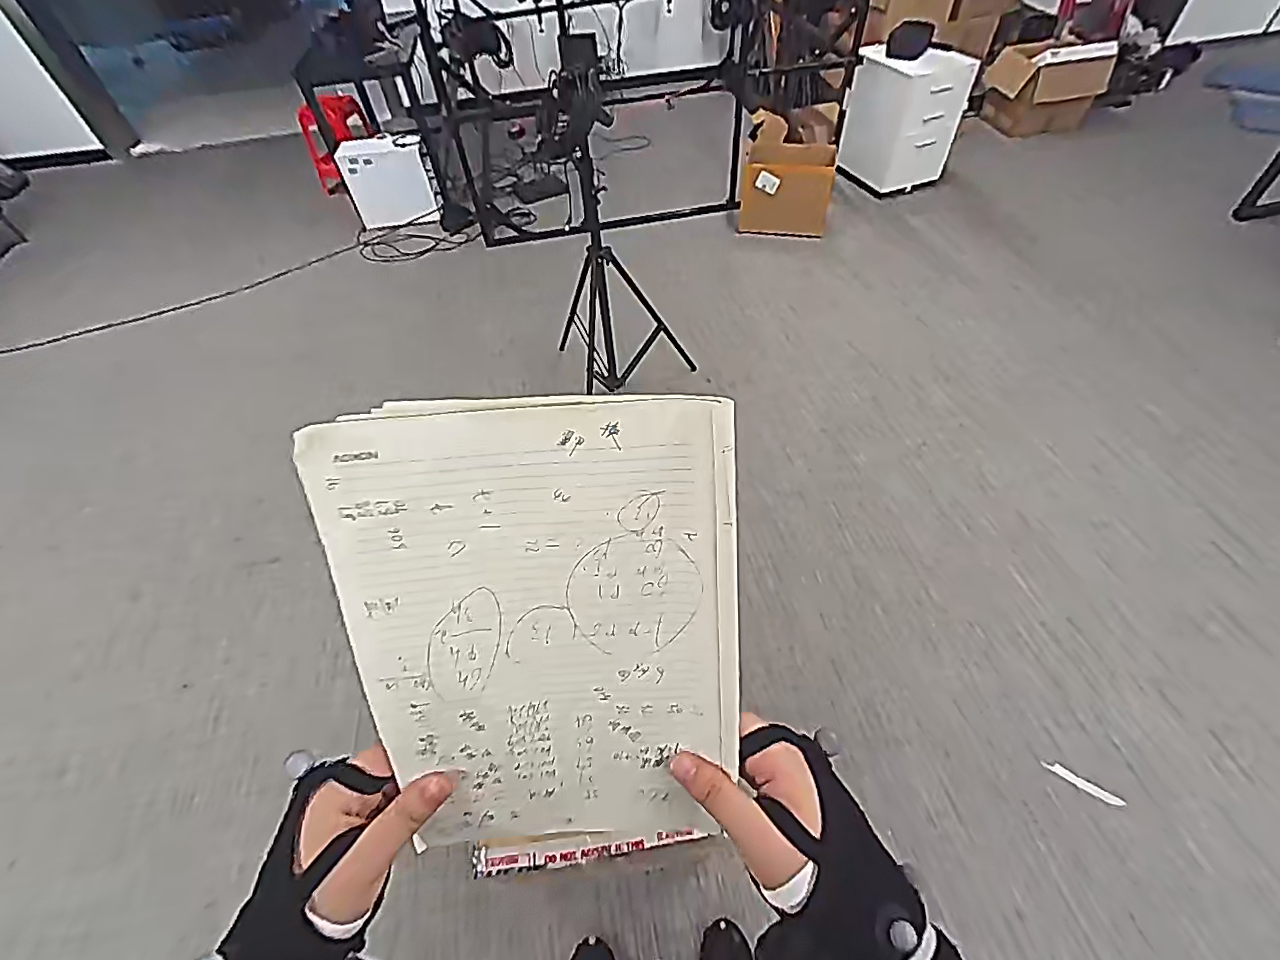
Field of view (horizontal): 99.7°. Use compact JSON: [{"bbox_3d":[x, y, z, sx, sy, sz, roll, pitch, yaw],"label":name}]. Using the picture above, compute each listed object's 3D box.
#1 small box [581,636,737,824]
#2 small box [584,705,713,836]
[{"bbox_3d":[0.016,0.329,0.709,0.168,0.176,0.179,-8,53,-5],"label":"small box"},{"bbox_3d":[0.016,0.432,0.838,0.179,0.176,0.168,-11,52,-6],"label":"small box"}]
